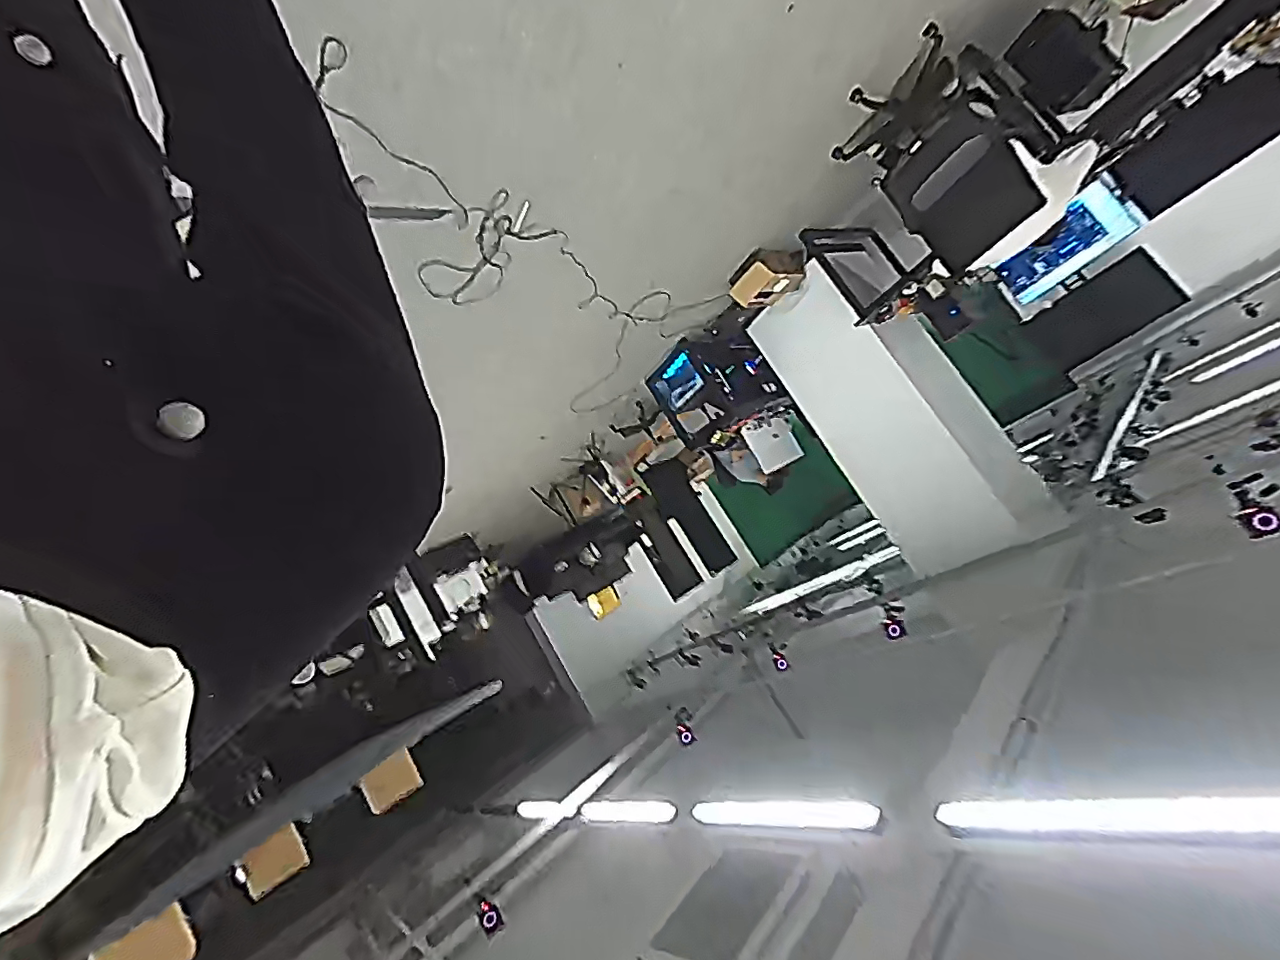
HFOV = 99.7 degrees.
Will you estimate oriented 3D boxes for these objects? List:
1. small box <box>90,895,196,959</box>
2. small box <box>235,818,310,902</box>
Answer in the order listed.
[{"bbox_3d":[-1.317,1.253,1.439,0.168,0.176,0.179,-24,171,-44],"label":"small box"},{"bbox_3d":[-1.253,1.286,1.843,0.168,0.176,0.179,-24,168,-41],"label":"small box"}]
